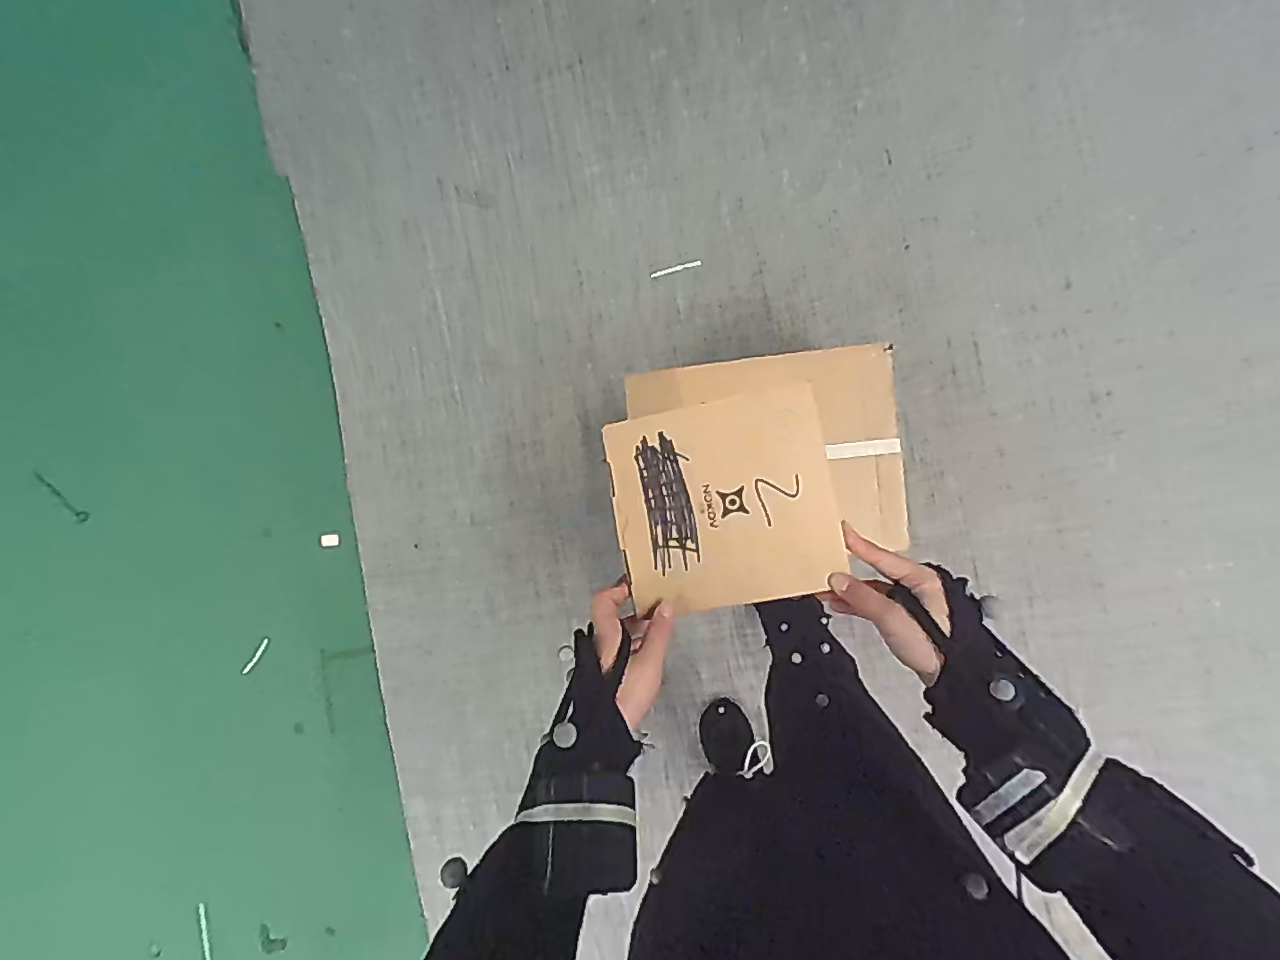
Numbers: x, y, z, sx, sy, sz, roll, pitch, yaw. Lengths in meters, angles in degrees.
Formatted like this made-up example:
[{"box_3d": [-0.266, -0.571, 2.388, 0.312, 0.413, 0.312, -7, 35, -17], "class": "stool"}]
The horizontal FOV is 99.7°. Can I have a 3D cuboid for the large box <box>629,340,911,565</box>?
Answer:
[{"box_3d": [0.215, -0.036, 0.976, 0.408, 0.320, 0.320, -5, 90, 10], "class": "large box"}]
